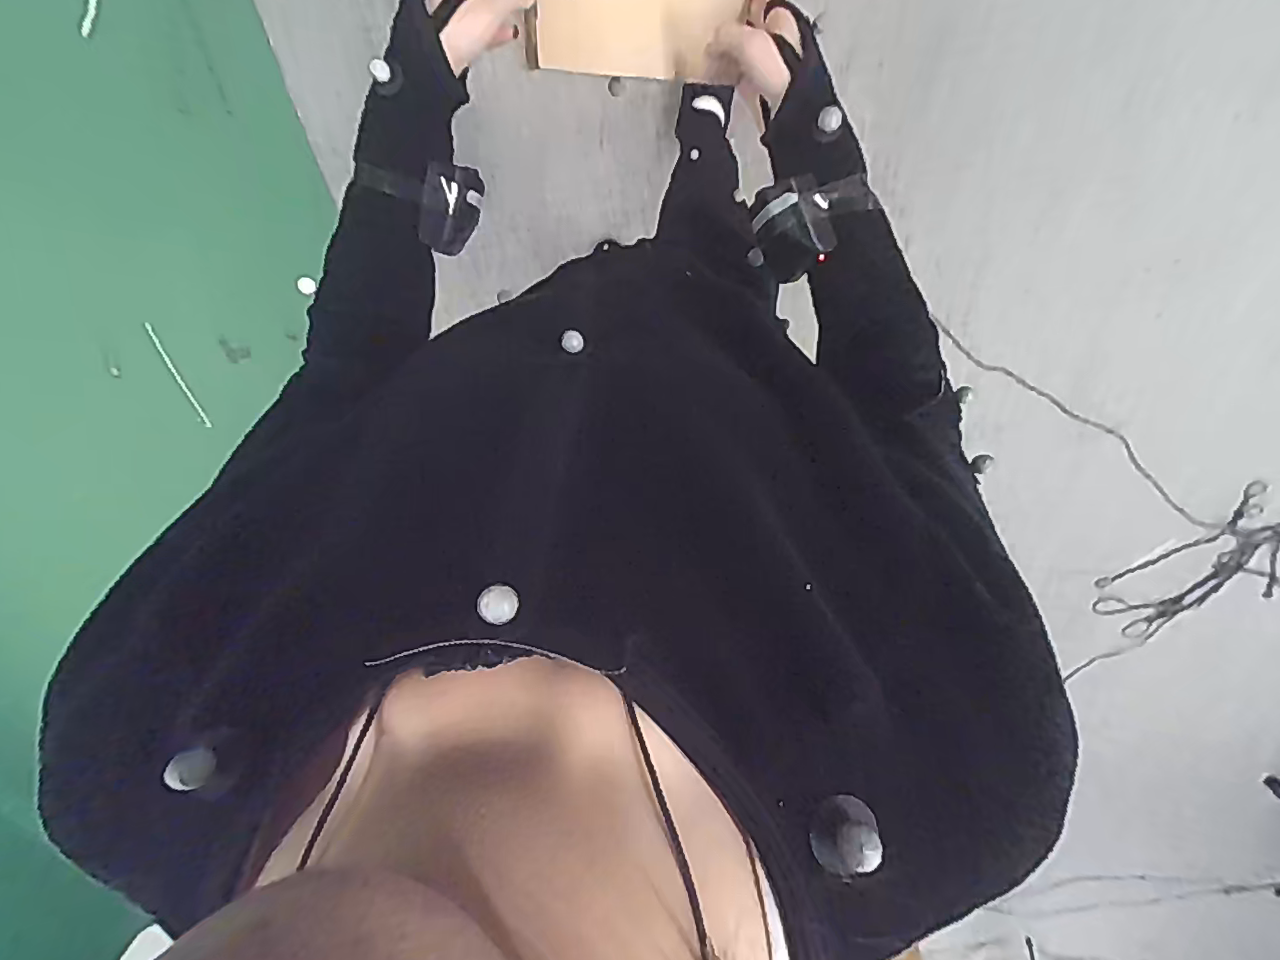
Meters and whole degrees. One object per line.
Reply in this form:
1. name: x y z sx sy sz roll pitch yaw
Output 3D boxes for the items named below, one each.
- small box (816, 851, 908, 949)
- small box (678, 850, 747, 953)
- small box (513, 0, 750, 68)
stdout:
1. small box: 0.561 1.075 1.382 0.179 0.176 0.168 -9 121 8
2. small box: 0.185 1.097 1.410 0.168 0.176 0.179 -4 122 4
3. small box: -0.014 -0.449 0.446 0.179 0.176 0.168 -7 129 -15
